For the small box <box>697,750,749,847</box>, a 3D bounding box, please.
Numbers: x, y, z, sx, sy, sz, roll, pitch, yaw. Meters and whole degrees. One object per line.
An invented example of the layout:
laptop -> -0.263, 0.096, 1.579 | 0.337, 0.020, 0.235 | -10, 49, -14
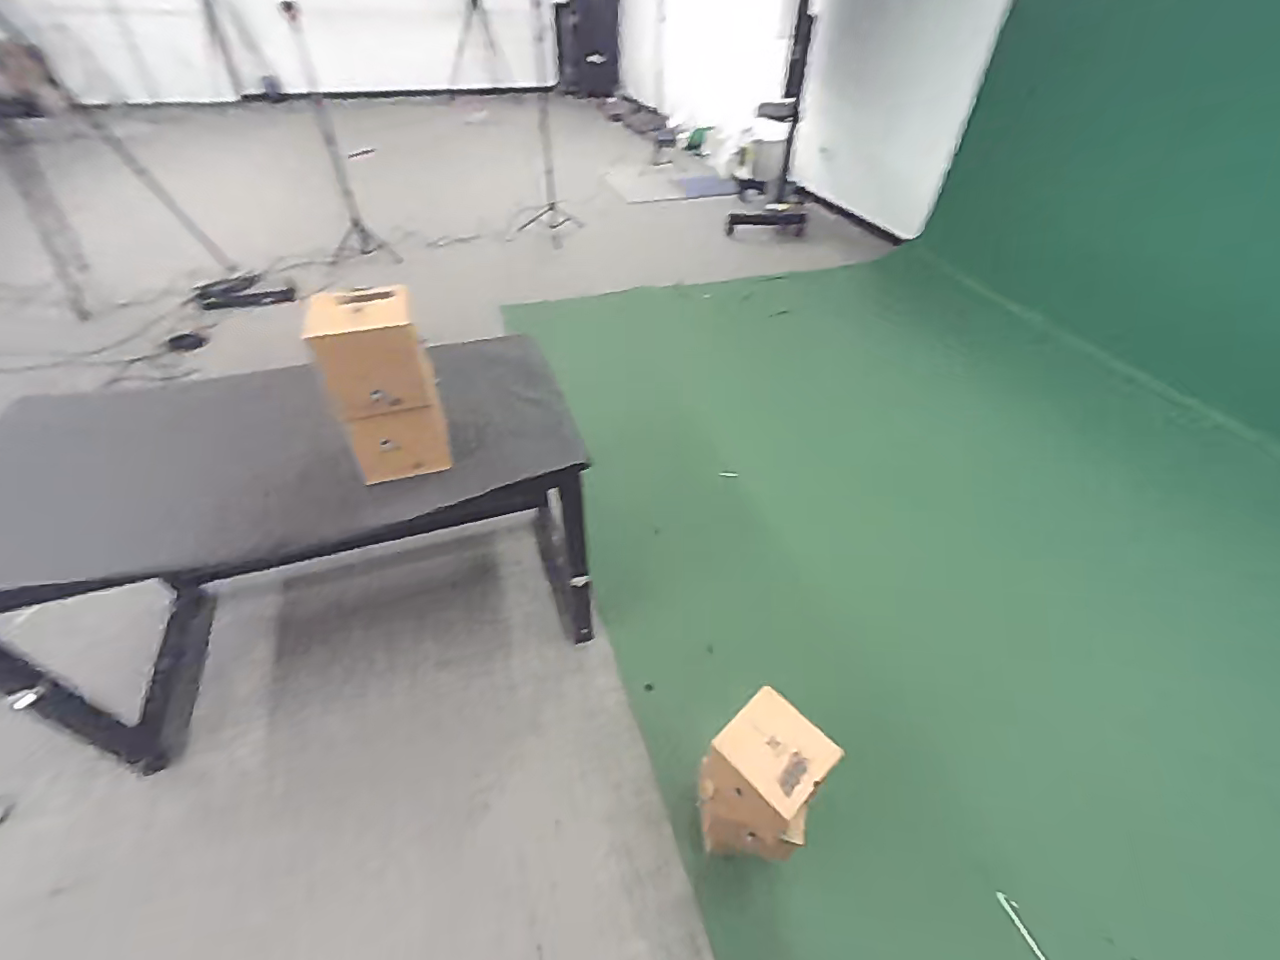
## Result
small box -> 0.231, 0.746, 1.269 | 0.179, 0.176, 0.168 | -1, 45, -3

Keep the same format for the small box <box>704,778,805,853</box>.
small box -> 0.240, 0.652, 1.134 | 0.179, 0.176, 0.168 | 14, 47, 11

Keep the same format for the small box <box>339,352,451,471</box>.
small box -> -0.492, -0.134, 1.101 | 0.168, 0.176, 0.179 | -13, 45, -15

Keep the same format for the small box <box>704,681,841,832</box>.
small box -> 0.242, 0.528, 1.025 | 0.168, 0.176, 0.179 | -32, 53, -29
